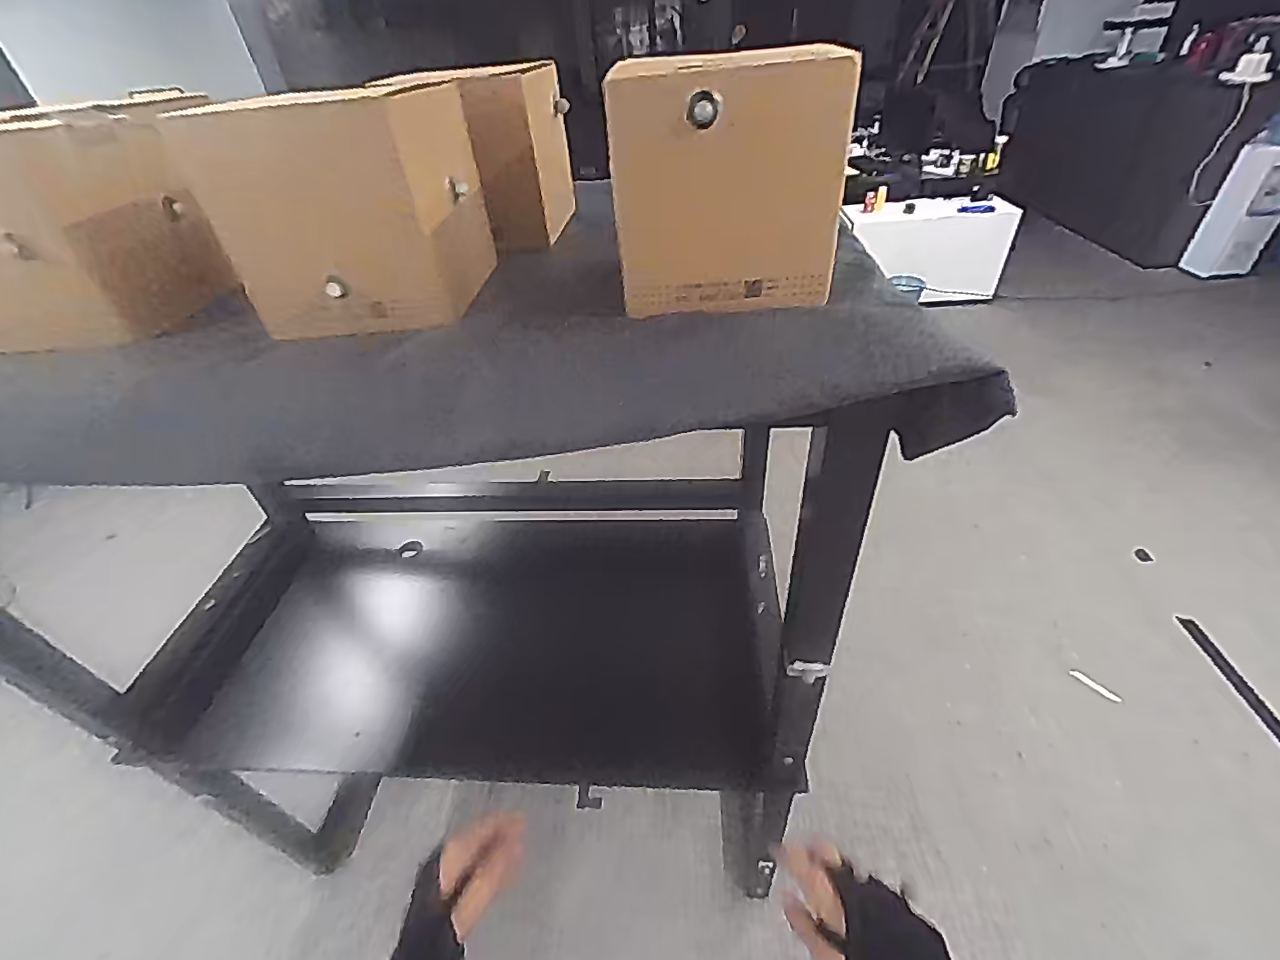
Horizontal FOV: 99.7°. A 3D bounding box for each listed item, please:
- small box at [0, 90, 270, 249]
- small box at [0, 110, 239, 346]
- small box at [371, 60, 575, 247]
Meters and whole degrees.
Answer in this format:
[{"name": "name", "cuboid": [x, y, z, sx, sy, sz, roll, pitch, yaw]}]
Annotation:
[{"name": "small box", "cuboid": [-0.625, -0.379, 0.690, 0.168, 0.176, 0.179, -1, 39, 5]}, {"name": "small box", "cuboid": [-0.537, -0.237, 0.509, 0.179, 0.176, 0.168, -2, 38, 2]}, {"name": "small box", "cuboid": [-0.179, -0.391, 0.650, 0.168, 0.176, 0.179, -1, 40, 7]}]
